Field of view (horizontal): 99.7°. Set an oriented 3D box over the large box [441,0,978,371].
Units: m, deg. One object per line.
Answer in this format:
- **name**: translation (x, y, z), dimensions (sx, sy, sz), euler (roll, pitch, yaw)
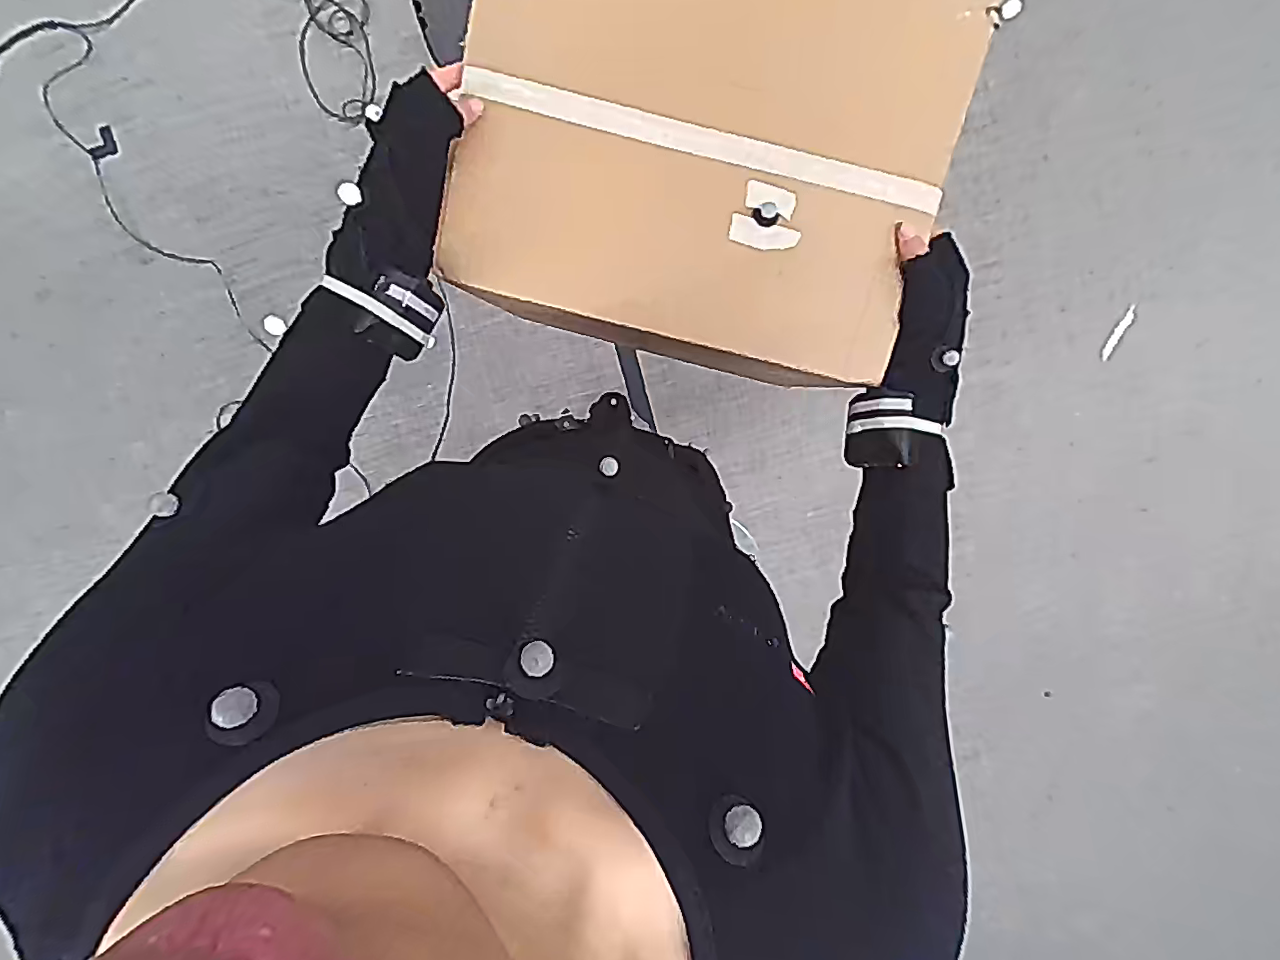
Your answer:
- **large box**: translation (0.048, -0.318, 0.599), dimensions (0.408, 0.320, 0.320), euler (13, 101, -2)
